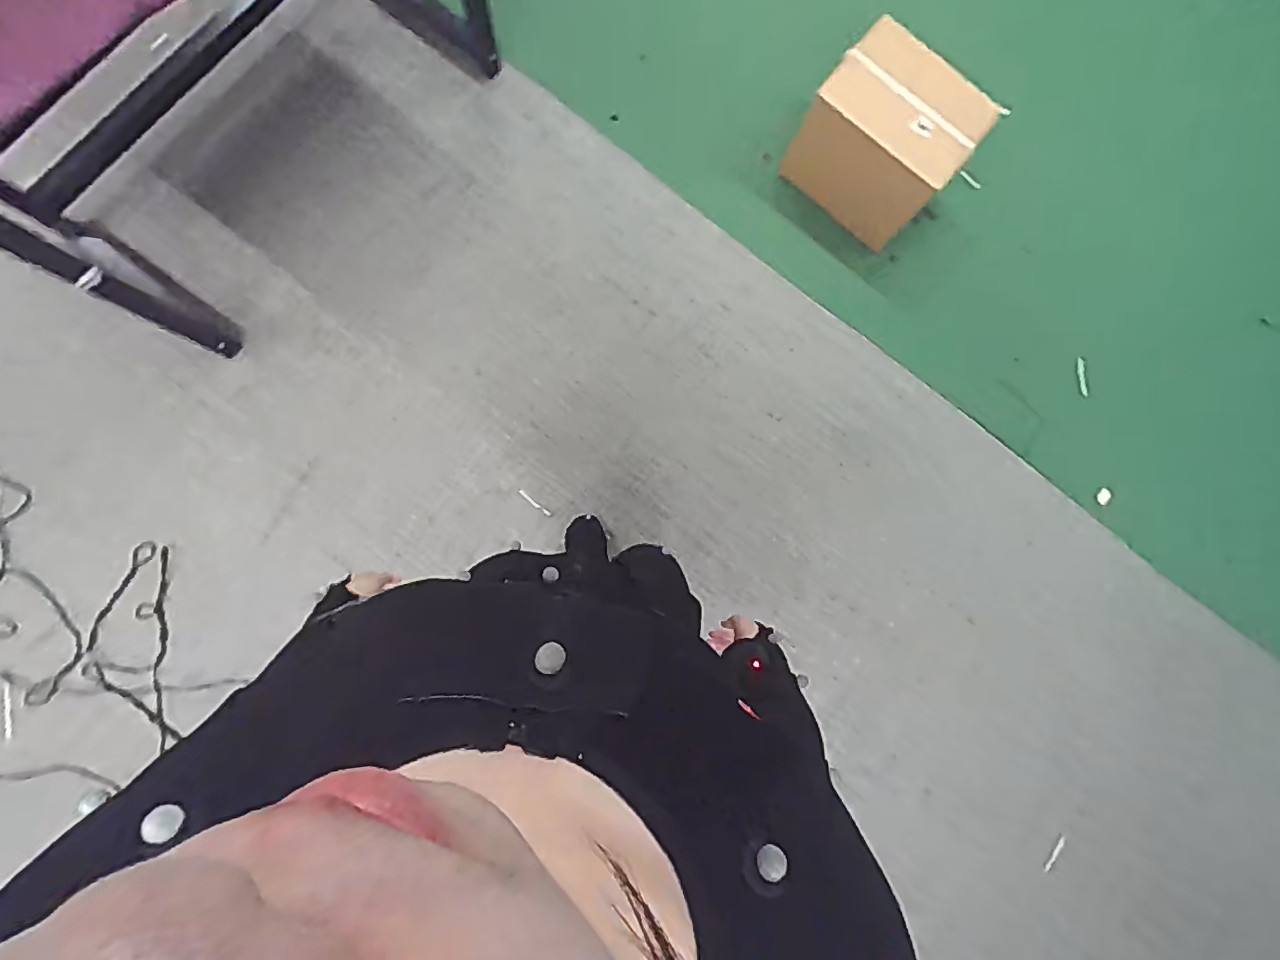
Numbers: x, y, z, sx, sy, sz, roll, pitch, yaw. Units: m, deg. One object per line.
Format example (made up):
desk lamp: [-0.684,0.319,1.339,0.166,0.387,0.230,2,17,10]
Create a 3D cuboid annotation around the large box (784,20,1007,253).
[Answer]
large box: [0.694,-0.944,1.530,0.408,0.320,0.320,40,83,0]
